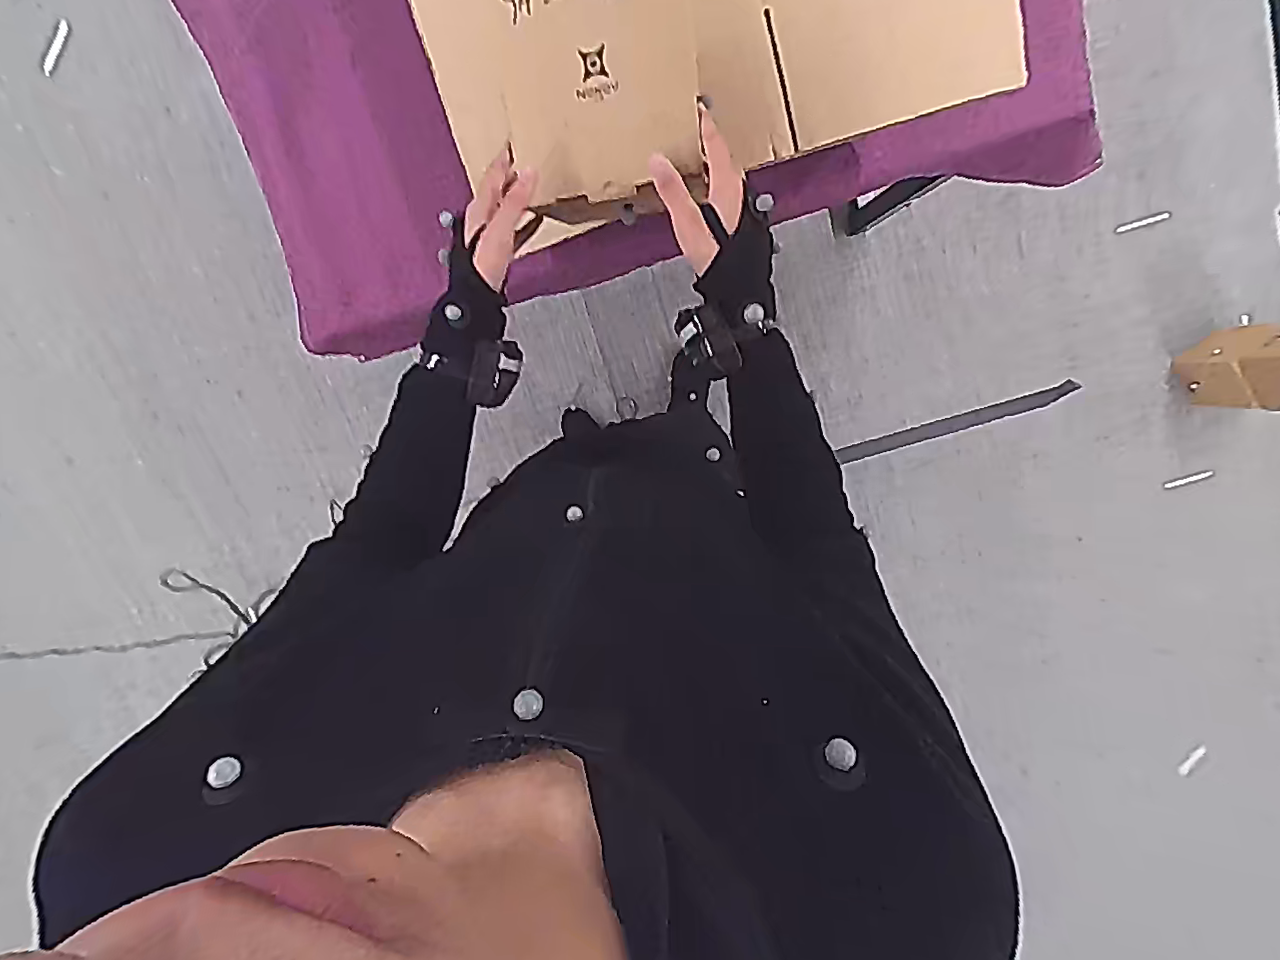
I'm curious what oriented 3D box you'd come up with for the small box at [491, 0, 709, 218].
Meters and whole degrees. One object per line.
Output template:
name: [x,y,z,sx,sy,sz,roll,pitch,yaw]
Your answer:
small box: [-0.022,-0.362,0.526,0.168,0.176,0.179,-4,110,10]
